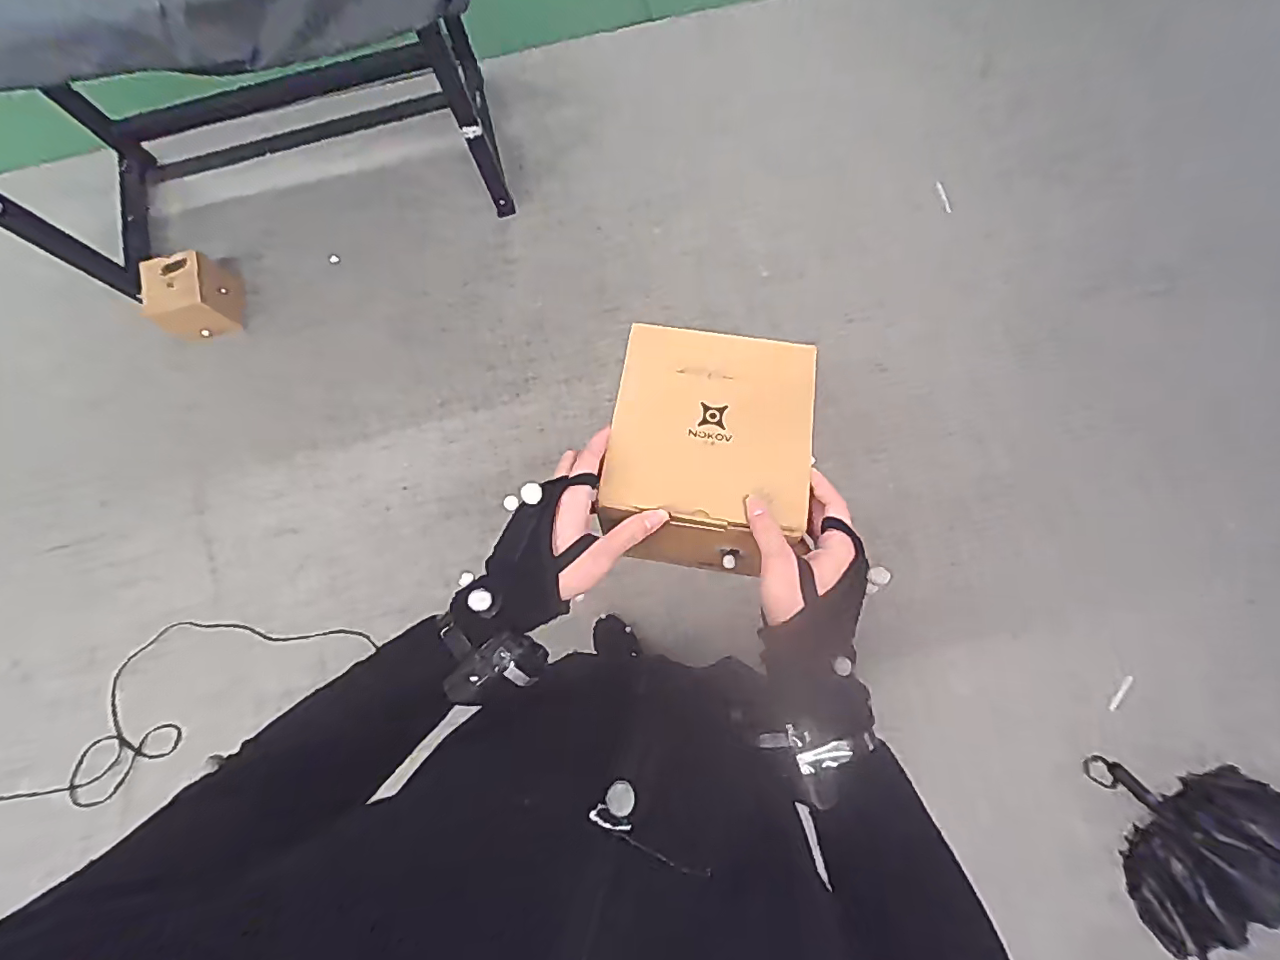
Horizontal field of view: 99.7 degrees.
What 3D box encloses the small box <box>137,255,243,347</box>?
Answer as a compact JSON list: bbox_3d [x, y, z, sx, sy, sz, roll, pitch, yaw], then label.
[{"bbox_3d":[-1.302,-0.514,1.572,0.168,0.176,0.179,-15,79,0],"label":"small box"}]
